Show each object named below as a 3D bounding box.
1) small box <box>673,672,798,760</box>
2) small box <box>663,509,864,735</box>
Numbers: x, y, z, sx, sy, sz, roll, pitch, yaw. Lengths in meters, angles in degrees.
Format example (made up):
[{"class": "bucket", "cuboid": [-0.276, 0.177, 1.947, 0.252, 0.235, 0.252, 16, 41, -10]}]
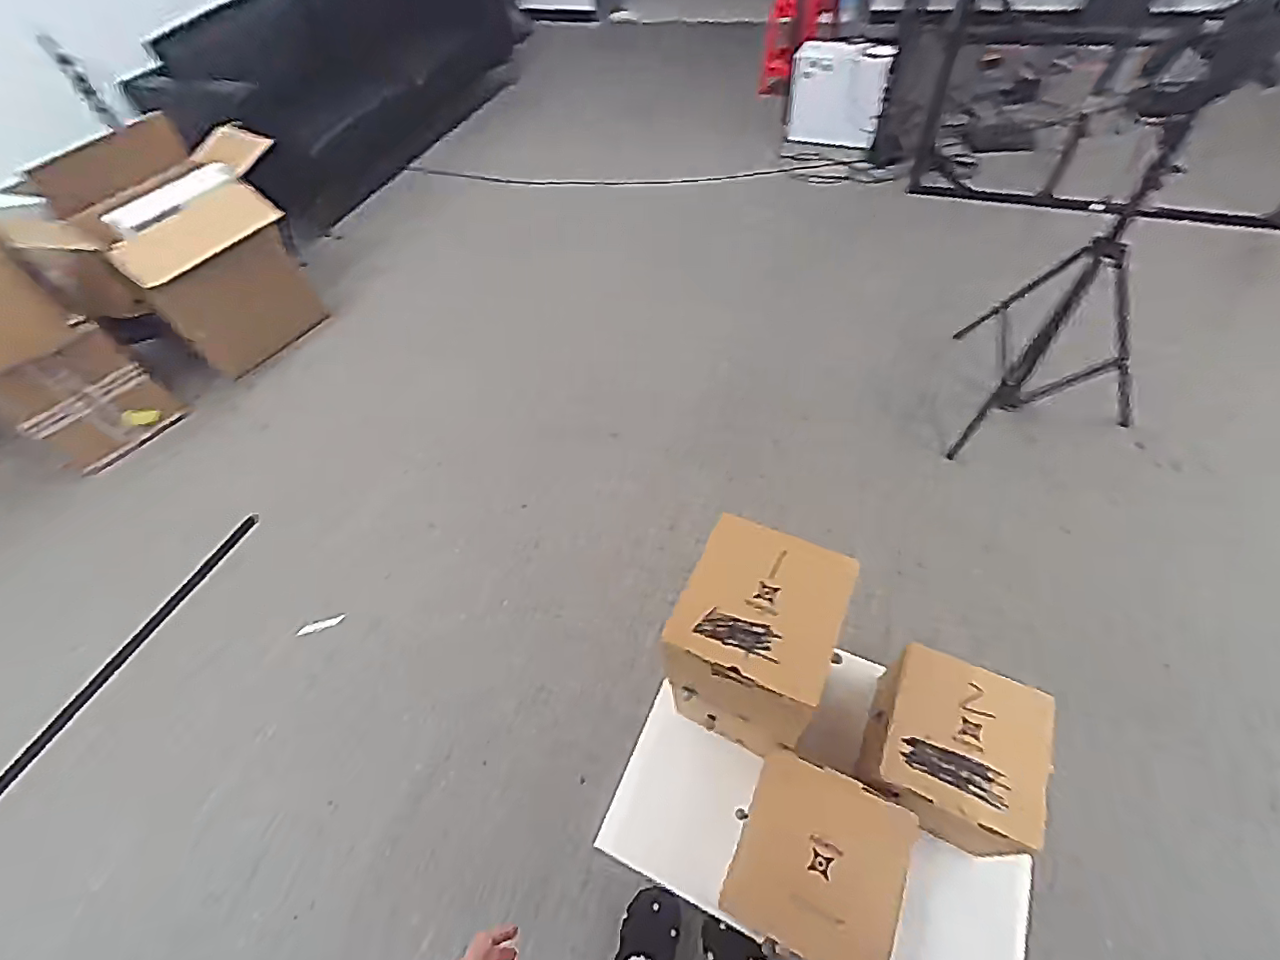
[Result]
[{"class": "small box", "cuboid": [0.162, 0.268, 0.769, 0.168, 0.176, 0.179, 21, 60, 20]}, {"class": "small box", "cuboid": [0.143, 0.171, 0.638, 0.168, 0.176, 0.179, 20, 59, 20]}]
